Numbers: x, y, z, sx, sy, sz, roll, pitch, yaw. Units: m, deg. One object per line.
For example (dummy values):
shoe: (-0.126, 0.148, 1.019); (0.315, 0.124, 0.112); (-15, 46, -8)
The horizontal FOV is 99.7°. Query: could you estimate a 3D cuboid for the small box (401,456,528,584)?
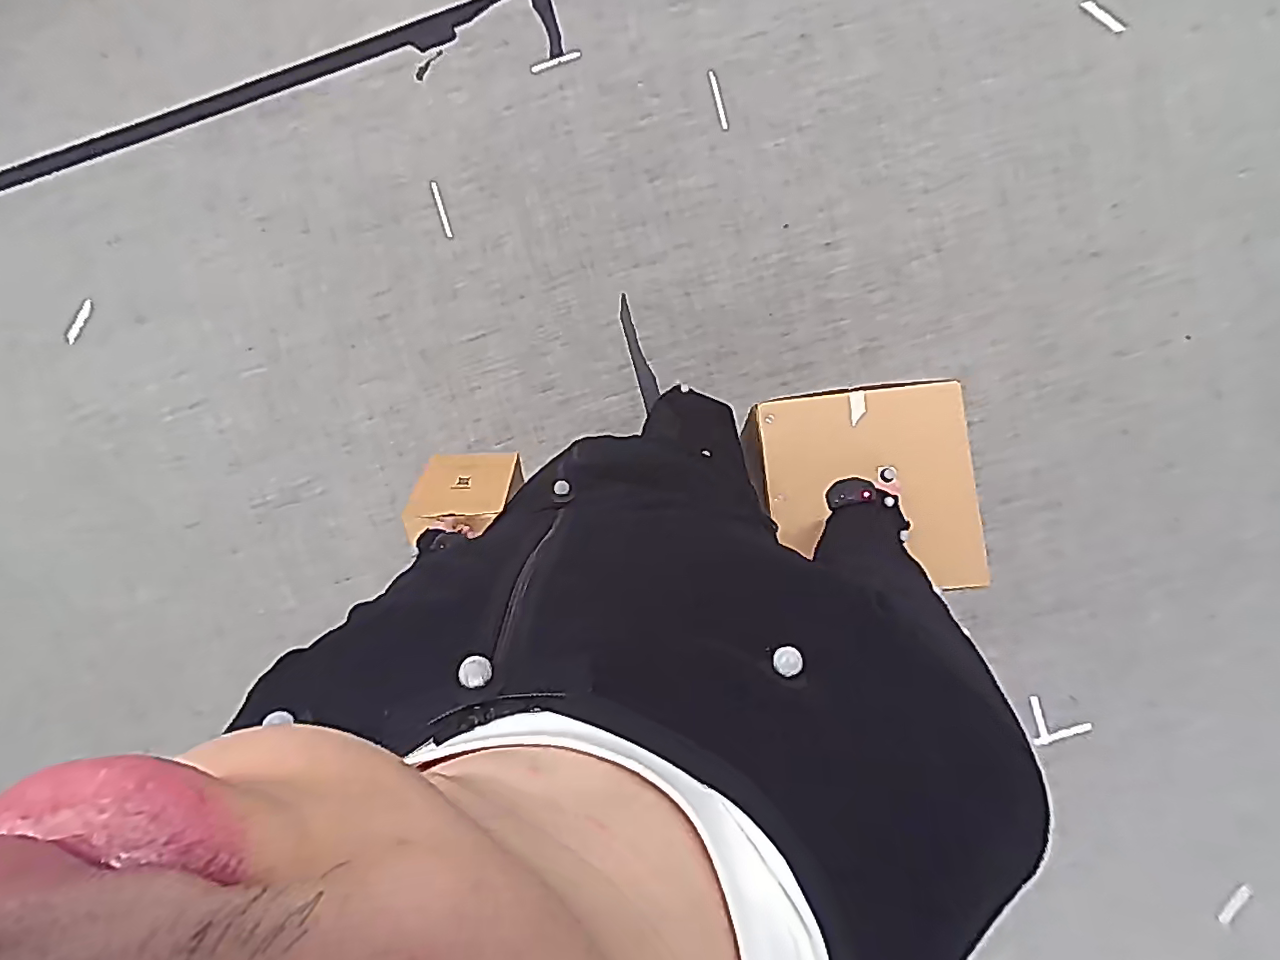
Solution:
small box: (-0.305, 0.075, 0.985); (0.168, 0.179, 0.176); (-1, 128, 0)
